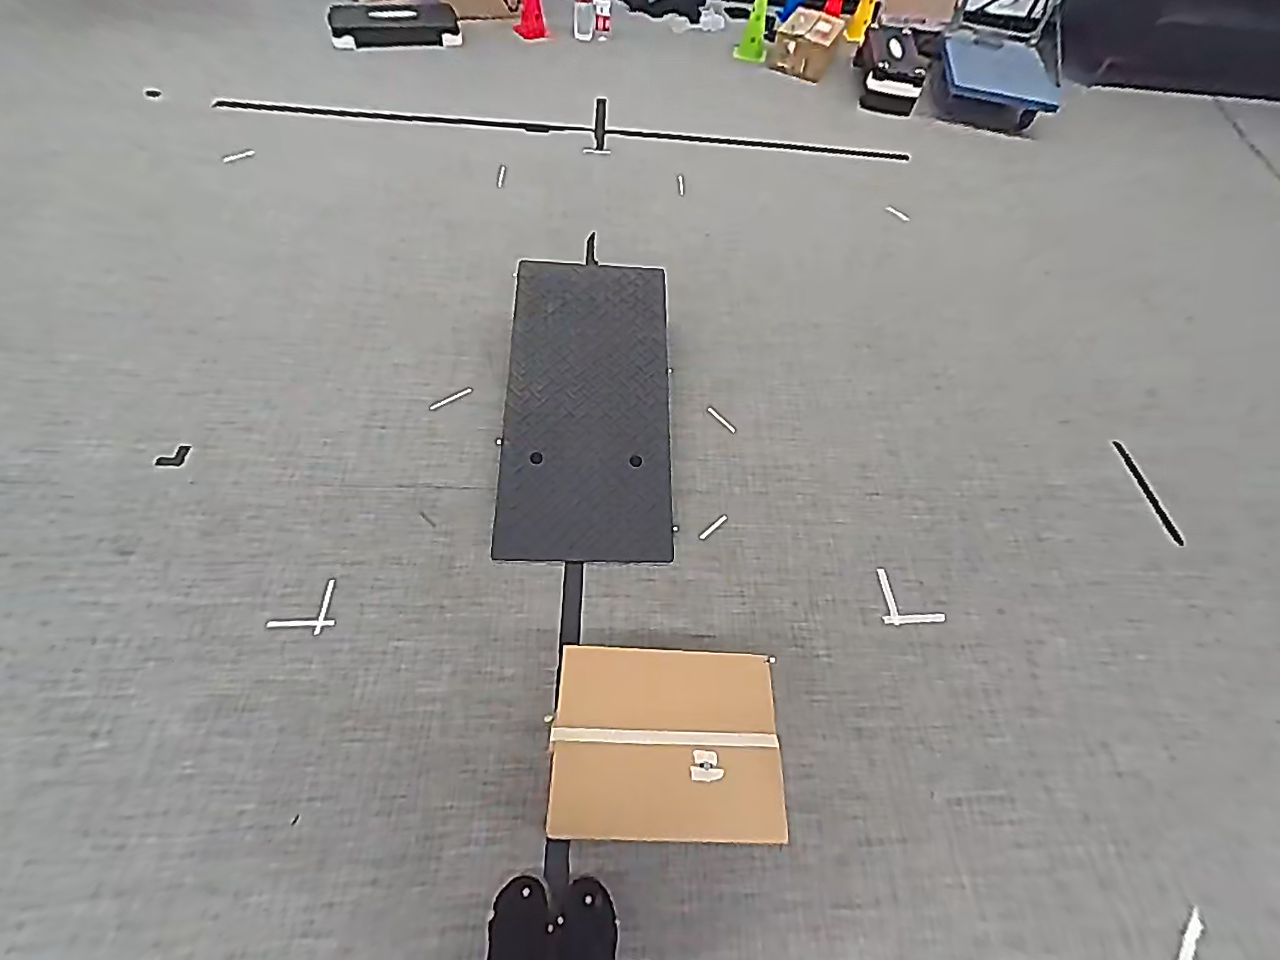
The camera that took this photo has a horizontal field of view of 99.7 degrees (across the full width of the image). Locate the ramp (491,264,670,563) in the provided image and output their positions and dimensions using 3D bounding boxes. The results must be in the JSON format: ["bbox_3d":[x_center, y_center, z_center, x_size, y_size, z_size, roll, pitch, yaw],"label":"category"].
[{"bbox_3d":[-0.159,-0.242,1.640,0.509,0.206,0.991,1,59,-7],"label":"ramp"}]

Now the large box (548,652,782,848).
[{"bbox_3d":[0.028,0.553,1.096,0.408,0.320,0.320,5,58,-5],"label":"large box"}]
